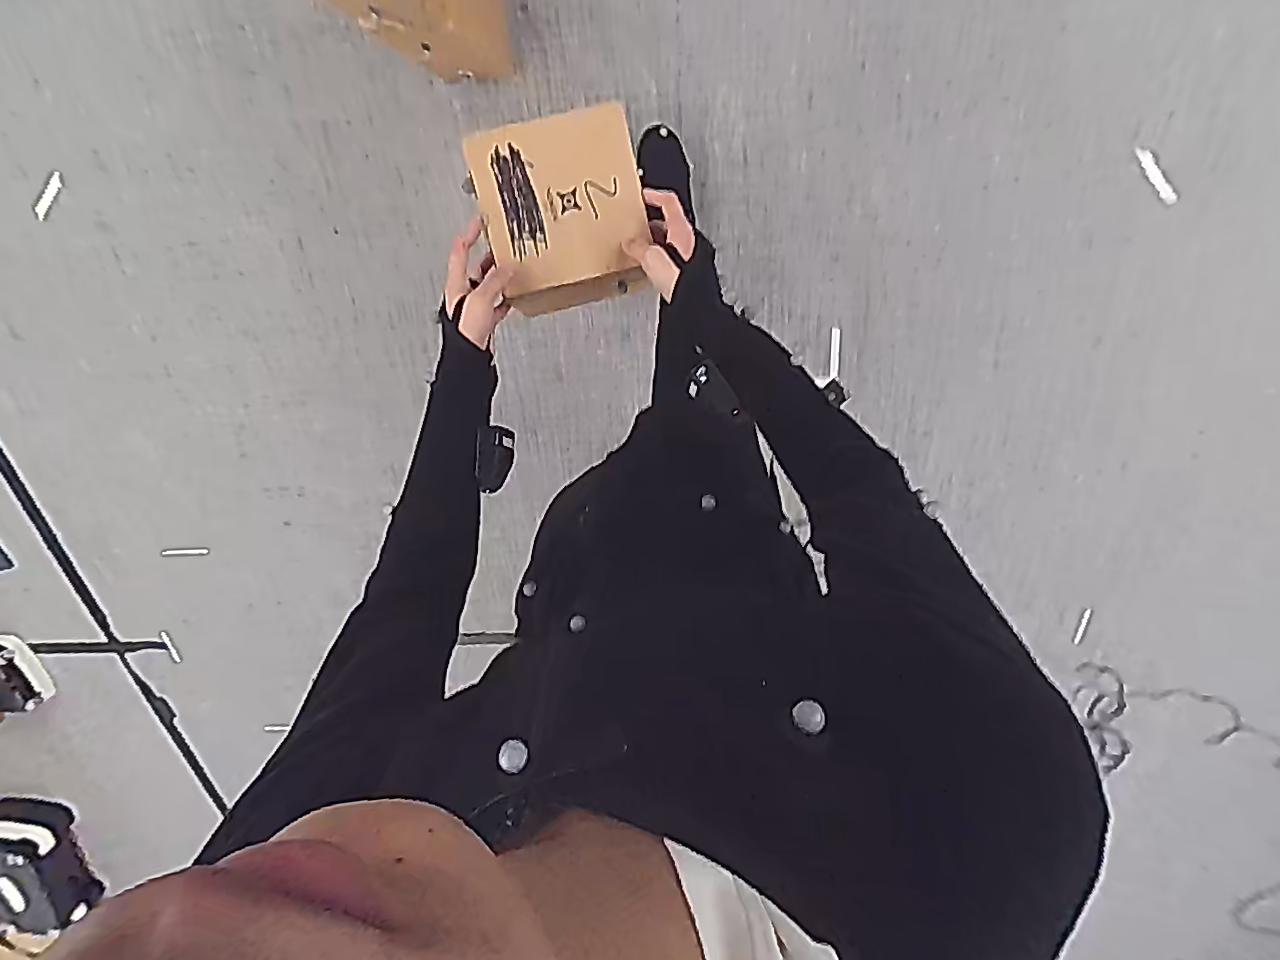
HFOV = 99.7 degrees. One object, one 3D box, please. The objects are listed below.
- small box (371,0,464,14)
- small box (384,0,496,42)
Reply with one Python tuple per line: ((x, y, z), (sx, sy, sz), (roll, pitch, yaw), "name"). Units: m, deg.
((-0.388, -0.871, 0.846), (0.168, 0.176, 0.179), (3, 117, 1), "small box")
((-0.373, -0.939, 0.992), (0.168, 0.176, 0.179), (0, 116, 2), "small box")
